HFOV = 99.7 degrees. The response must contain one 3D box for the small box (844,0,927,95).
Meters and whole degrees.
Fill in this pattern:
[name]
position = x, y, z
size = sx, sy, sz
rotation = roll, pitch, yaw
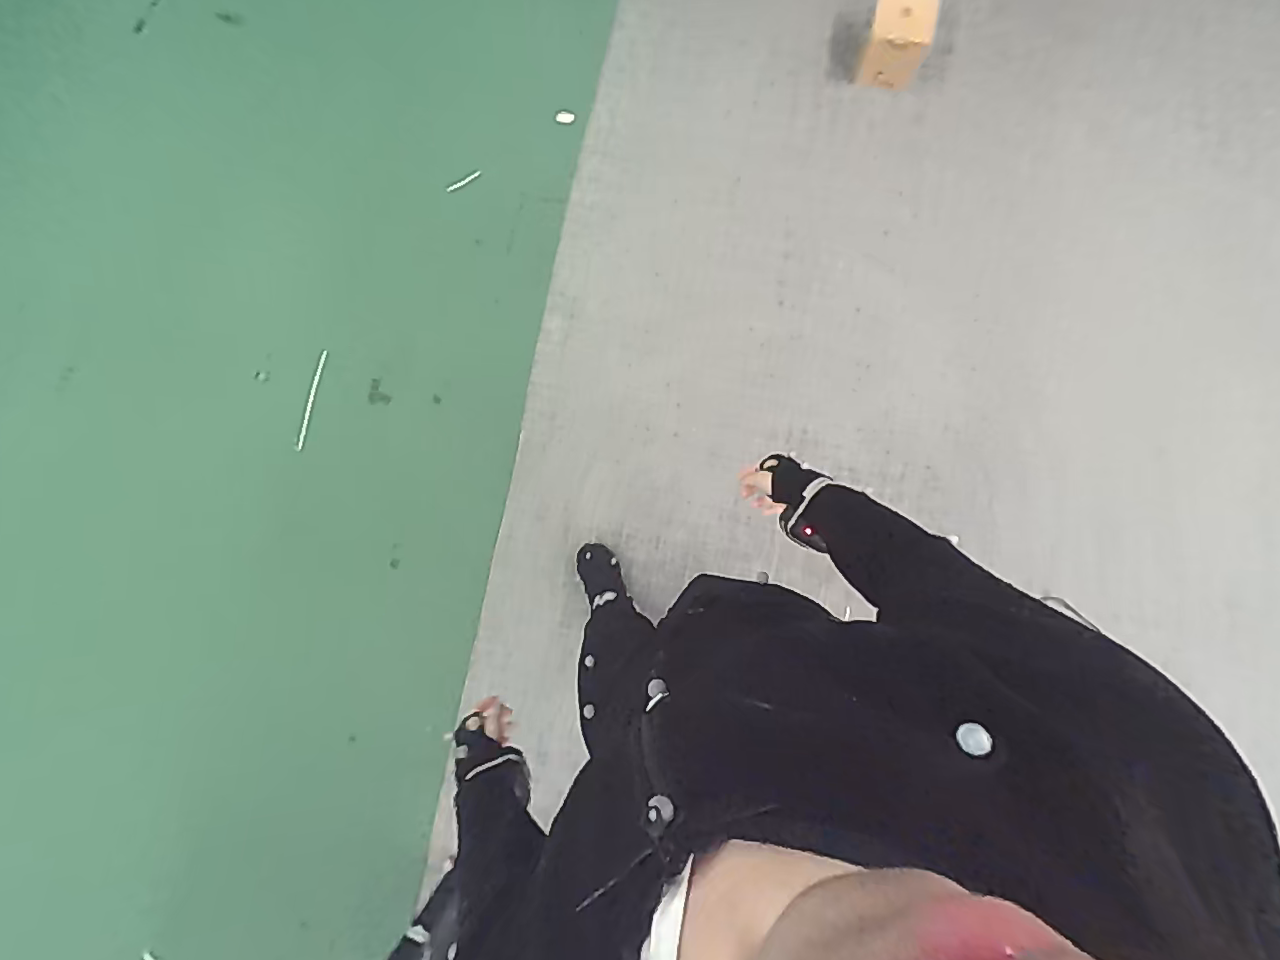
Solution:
[small box]
position = 0.712, -1.280, 1.582
size = 0.168, 0.176, 0.179
rotation = 10, 84, 4
